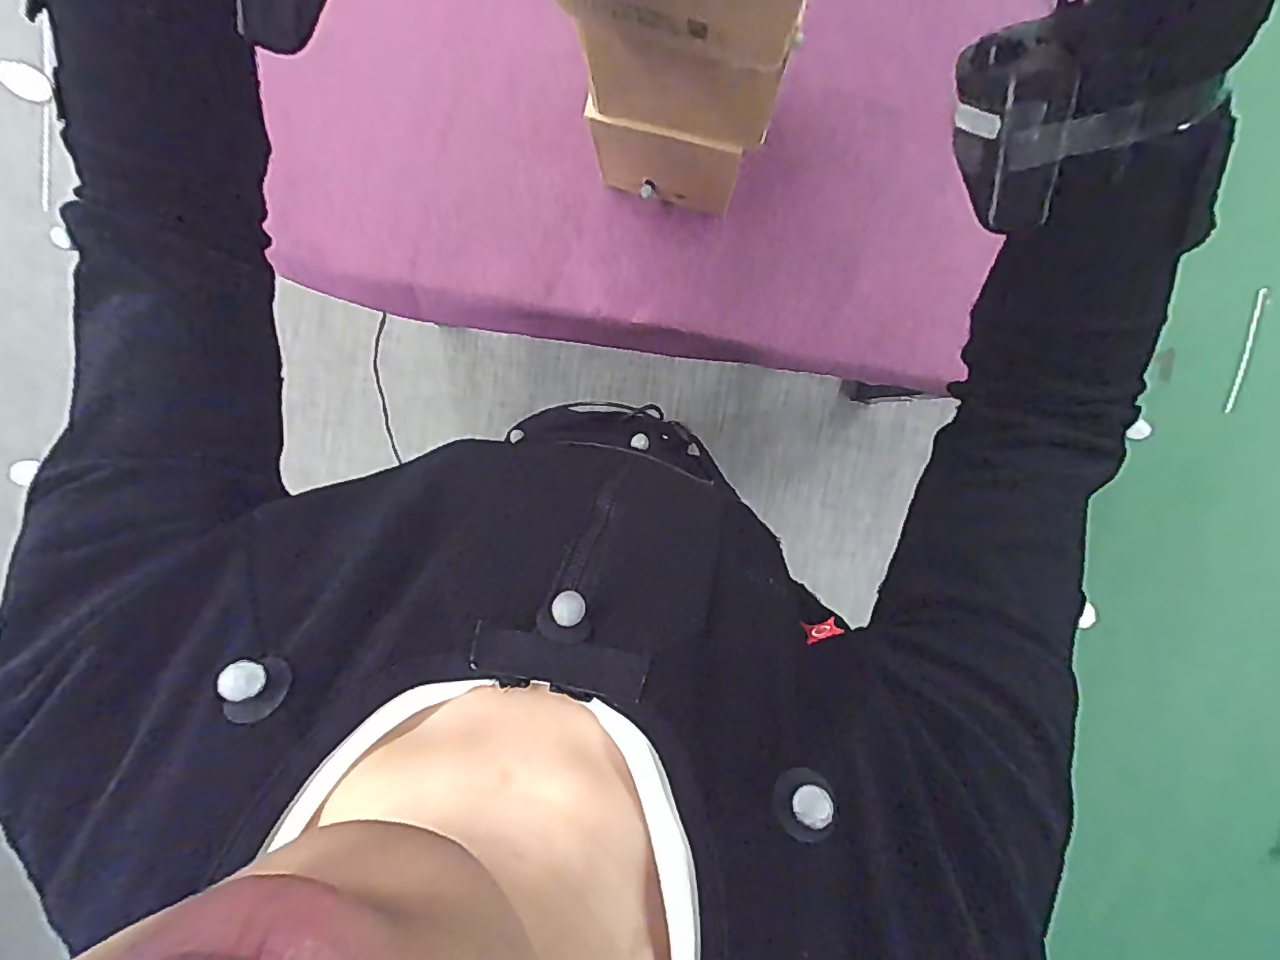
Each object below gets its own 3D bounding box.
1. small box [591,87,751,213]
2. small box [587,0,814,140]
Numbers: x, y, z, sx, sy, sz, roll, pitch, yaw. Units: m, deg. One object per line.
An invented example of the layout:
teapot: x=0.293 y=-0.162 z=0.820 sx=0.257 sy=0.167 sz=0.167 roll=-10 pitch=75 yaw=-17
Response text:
small box: x=0.051 y=-0.436 z=0.608 sx=0.168 sy=0.176 sz=0.179 roll=14 pitch=97 yaw=1
small box: x=0.053 y=-0.418 z=0.447 sx=0.179 sy=0.176 sz=0.168 roll=12 pitch=97 yaw=0
